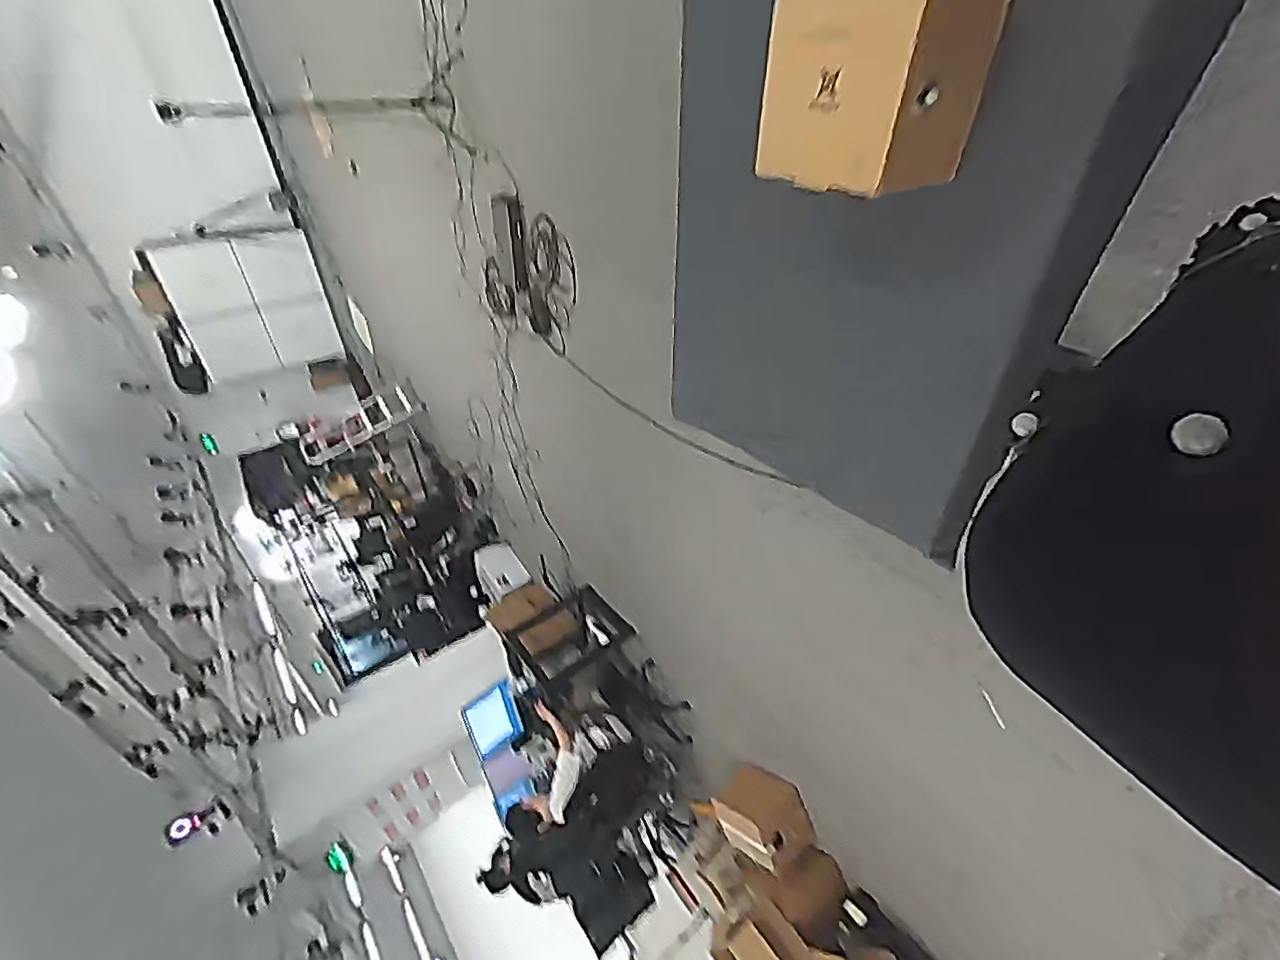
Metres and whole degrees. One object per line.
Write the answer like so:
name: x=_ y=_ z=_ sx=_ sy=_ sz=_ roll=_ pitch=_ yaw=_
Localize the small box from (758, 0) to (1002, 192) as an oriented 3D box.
small box: x=0.256 y=-0.434 z=0.596 sx=0.168 sy=0.176 sz=0.179 roll=36 pitch=139 yaw=38
